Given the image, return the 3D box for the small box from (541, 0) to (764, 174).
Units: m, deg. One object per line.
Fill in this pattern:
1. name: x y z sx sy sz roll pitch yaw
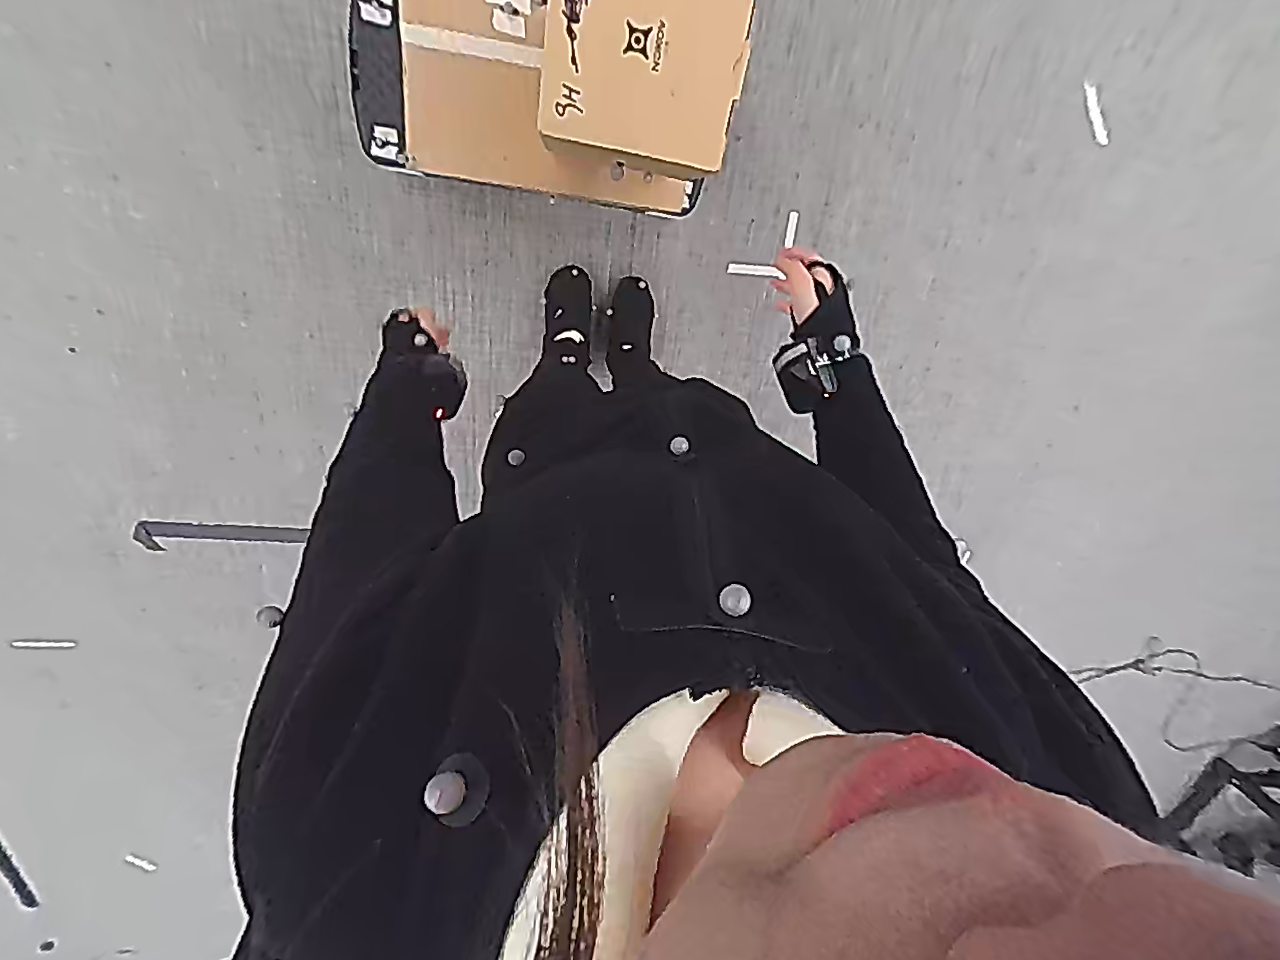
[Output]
1. small box: 0.000 -0.408 0.529 0.179 0.176 0.168 6 115 -12

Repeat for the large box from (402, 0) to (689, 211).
1. large box: -0.125 -0.627 0.863 0.408 0.320 0.320 4 115 -9

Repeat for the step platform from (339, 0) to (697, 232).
1. step platform: -0.210 -0.721 1.072 0.684 0.204 0.286 9 115 -12
